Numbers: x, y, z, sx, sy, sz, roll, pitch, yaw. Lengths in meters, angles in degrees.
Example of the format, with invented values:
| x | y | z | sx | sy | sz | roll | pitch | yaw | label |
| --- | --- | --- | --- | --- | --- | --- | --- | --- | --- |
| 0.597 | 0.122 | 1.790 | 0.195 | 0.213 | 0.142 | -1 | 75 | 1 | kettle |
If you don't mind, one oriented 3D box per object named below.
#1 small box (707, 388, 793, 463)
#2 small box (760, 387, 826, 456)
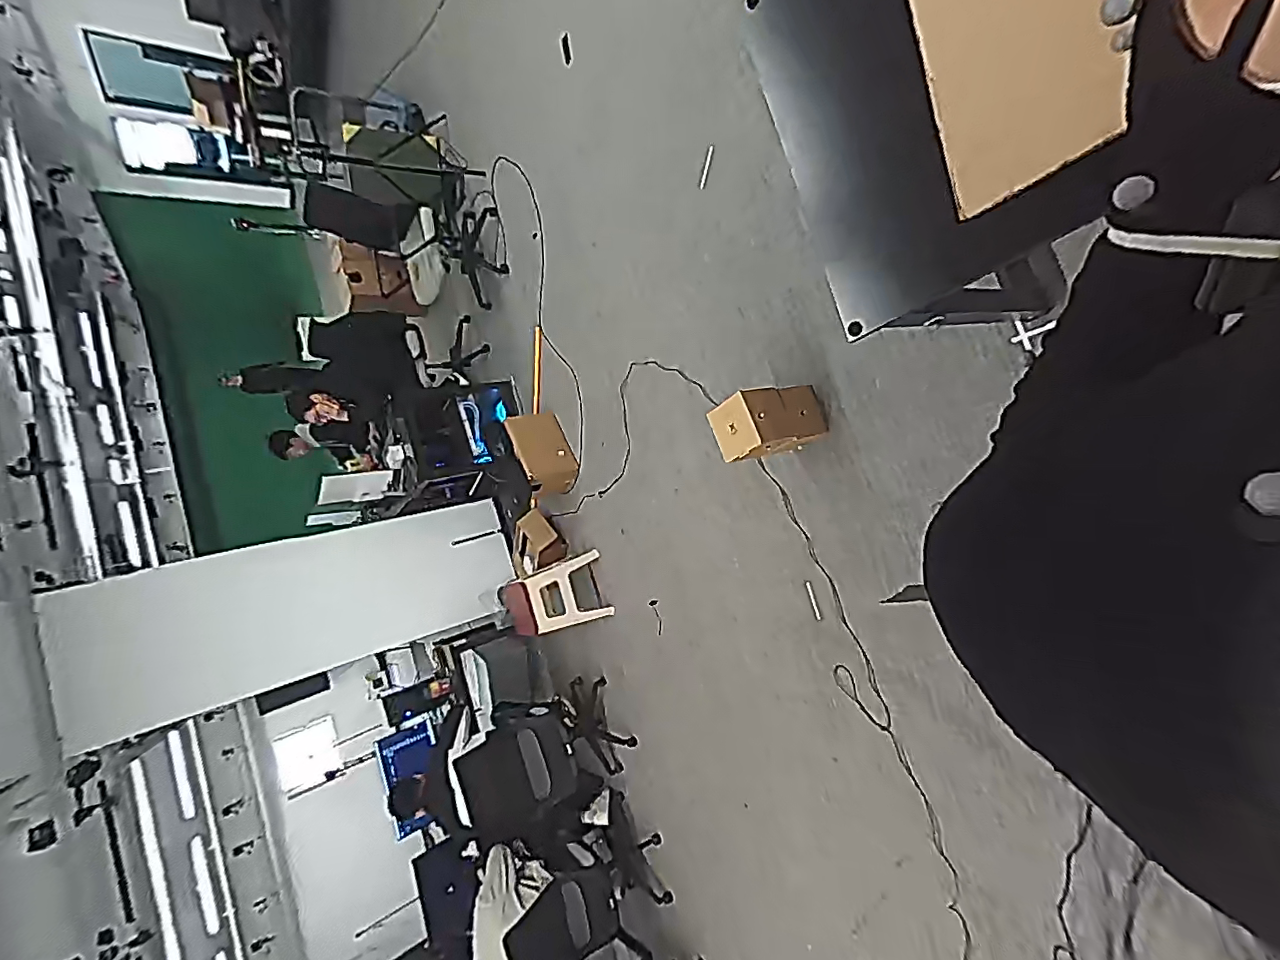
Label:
| x | y | z | sx | sy | sz | roll | pitch | yaw | label |
| --- | --- | --- | --- | --- | --- | --- | --- | --- | --- |
| 0.346 | -0.172 | 1.687 | 0.168 | 0.176 | 0.179 | -34 | 72 | 52 | small box |
| 0.478 | -0.196 | 1.779 | 0.168 | 0.176 | 0.179 | -30 | 77 | 53 | small box |
